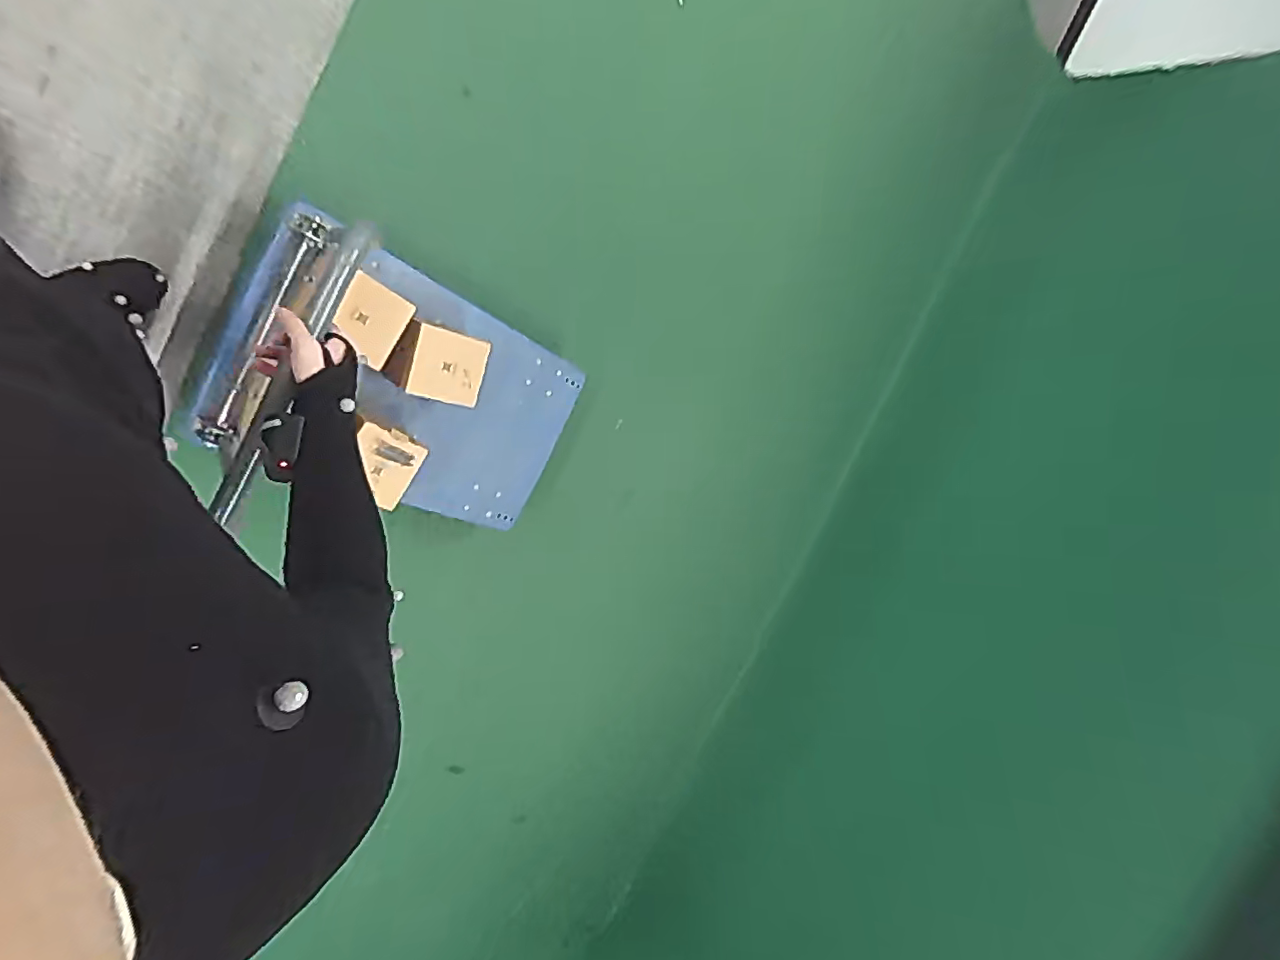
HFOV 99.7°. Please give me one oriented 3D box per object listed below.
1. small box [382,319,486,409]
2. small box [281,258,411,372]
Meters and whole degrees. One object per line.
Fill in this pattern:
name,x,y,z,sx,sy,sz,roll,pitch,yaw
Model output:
small box,-0.514,-0.289,1.334,0.179,0.176,0.168,9,105,-44
small box,-0.644,-0.365,1.181,0.179,0.176,0.168,31,89,-46
